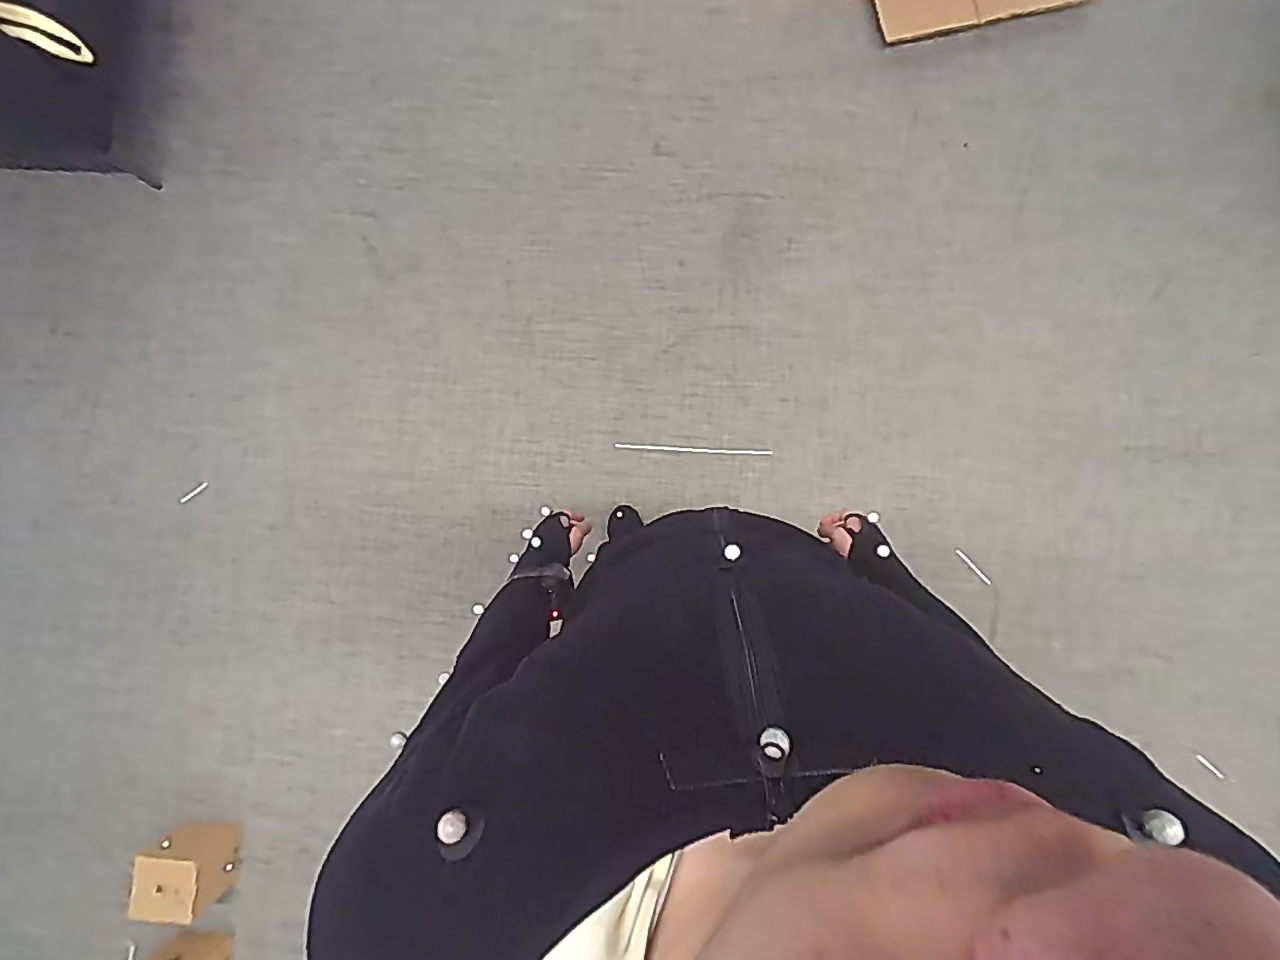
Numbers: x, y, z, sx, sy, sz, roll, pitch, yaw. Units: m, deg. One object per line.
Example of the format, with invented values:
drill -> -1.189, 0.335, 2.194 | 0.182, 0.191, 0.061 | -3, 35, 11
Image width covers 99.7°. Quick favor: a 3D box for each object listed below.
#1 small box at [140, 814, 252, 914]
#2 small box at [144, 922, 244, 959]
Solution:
small box -> -1.276, 1.099, 1.562 | 0.179, 0.176, 0.168 | 5, 87, 2
small box -> -1.288, 1.413, 1.547 | 0.179, 0.176, 0.168 | 2, 87, 1
